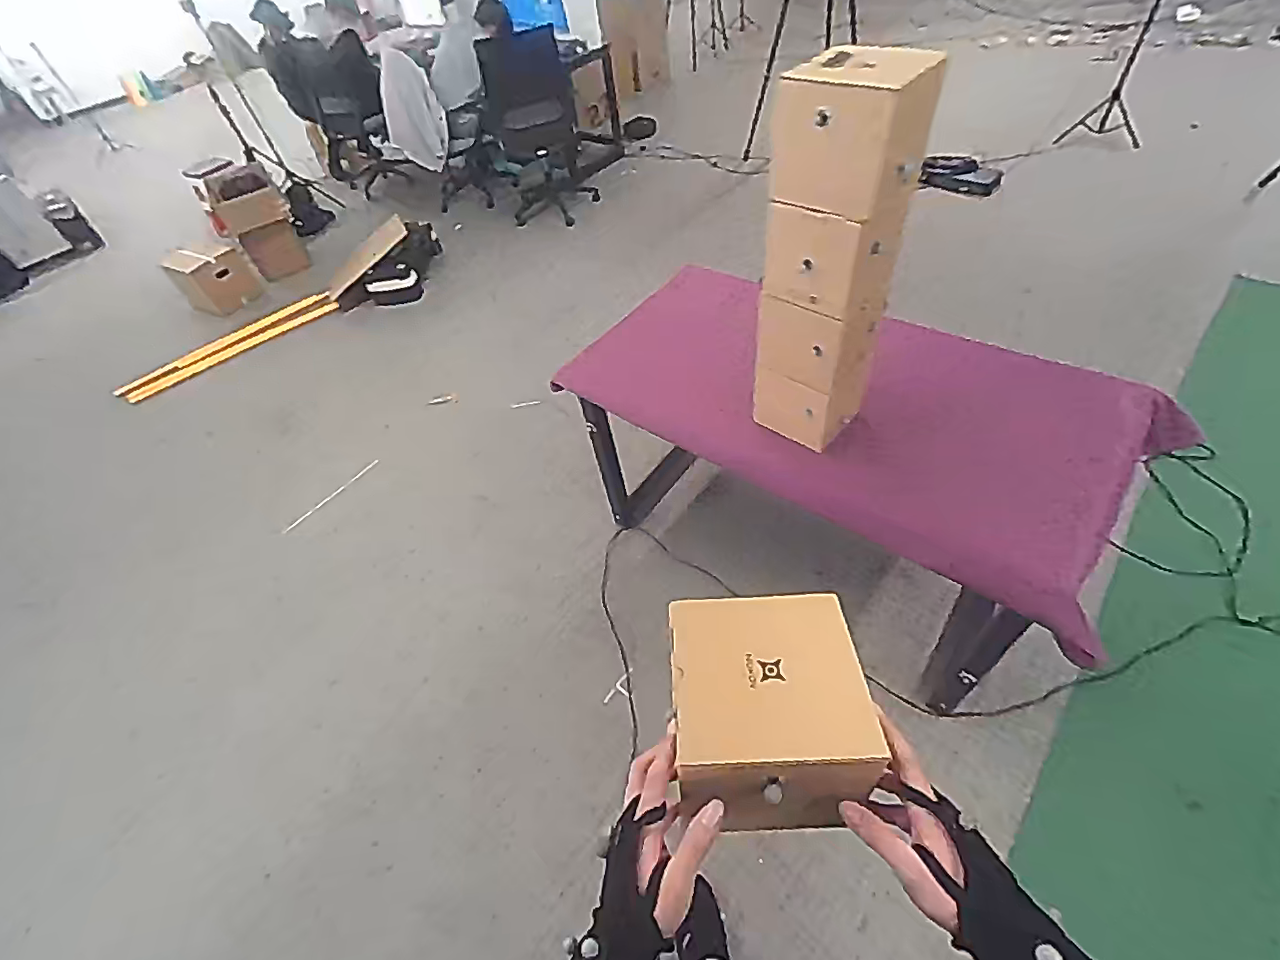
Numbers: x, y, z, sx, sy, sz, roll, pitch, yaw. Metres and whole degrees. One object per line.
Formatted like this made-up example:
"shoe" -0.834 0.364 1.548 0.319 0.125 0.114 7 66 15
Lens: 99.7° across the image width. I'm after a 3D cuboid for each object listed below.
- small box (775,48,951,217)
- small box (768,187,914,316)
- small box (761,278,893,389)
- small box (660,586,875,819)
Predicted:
"small box" 0.319 -0.519 0.810 0.179 0.176 0.168 32 61 29
"small box" 0.338 -0.412 0.934 0.168 0.176 0.179 34 63 31
"small box" 0.354 -0.303 1.055 0.179 0.176 0.168 33 62 31
"small box" 0.114 0.230 0.557 0.179 0.176 0.168 -5 41 4
